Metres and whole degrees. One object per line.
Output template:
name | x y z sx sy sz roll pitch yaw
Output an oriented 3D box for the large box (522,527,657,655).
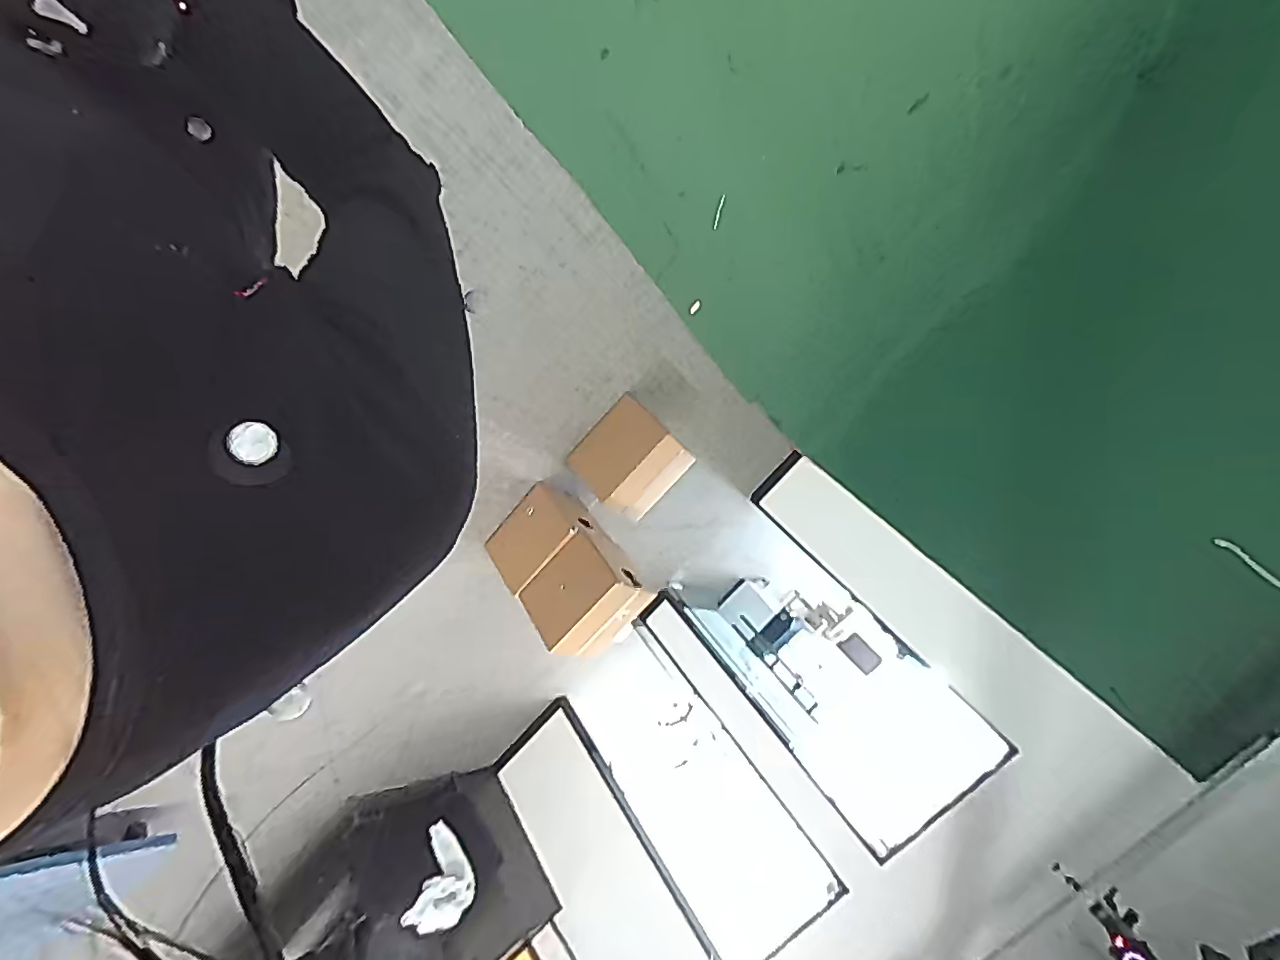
large box | -0.216 0.470 2.261 0.408 0.320 0.320 -47 144 8
